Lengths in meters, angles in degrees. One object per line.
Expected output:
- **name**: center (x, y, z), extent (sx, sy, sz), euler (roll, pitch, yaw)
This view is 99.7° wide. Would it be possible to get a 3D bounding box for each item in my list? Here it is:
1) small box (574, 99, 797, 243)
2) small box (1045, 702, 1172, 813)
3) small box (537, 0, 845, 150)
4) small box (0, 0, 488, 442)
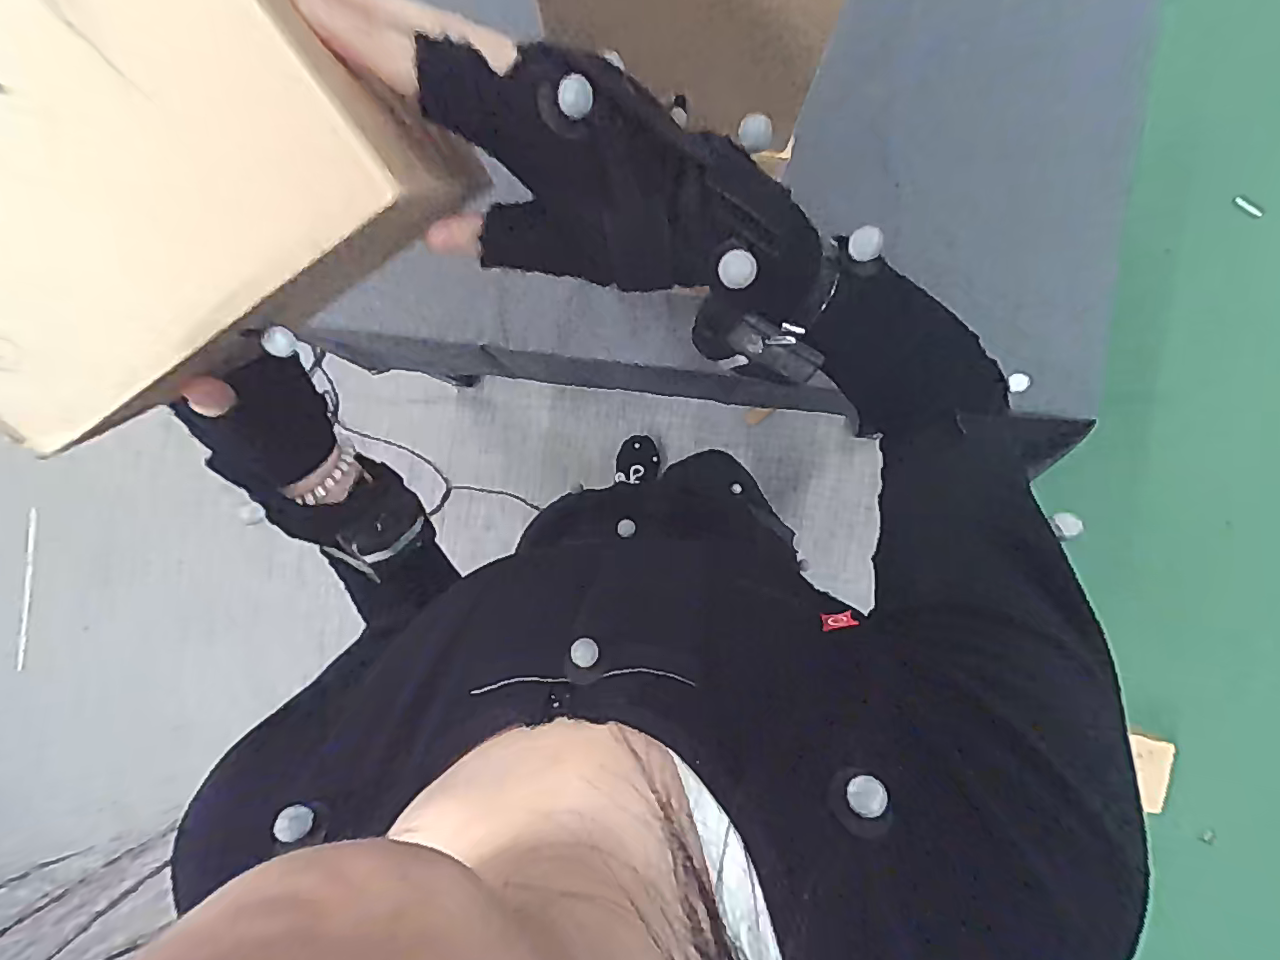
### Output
- **small box**: center (0.044, -0.343, 0.512), extent (0.179, 0.176, 0.168), euler (6, 91, 2)
- **small box**: center (1.174, 0.694, 1.370), extent (0.168, 0.176, 0.179), euler (11, 90, 1)
- **small box**: center (0.037, -0.347, 0.348), extent (0.179, 0.176, 0.168), euler (8, 90, 1)
- **small box**: center (-0.186, -0.149, 0.211), extent (0.179, 0.176, 0.168), euler (-27, 119, 12)
